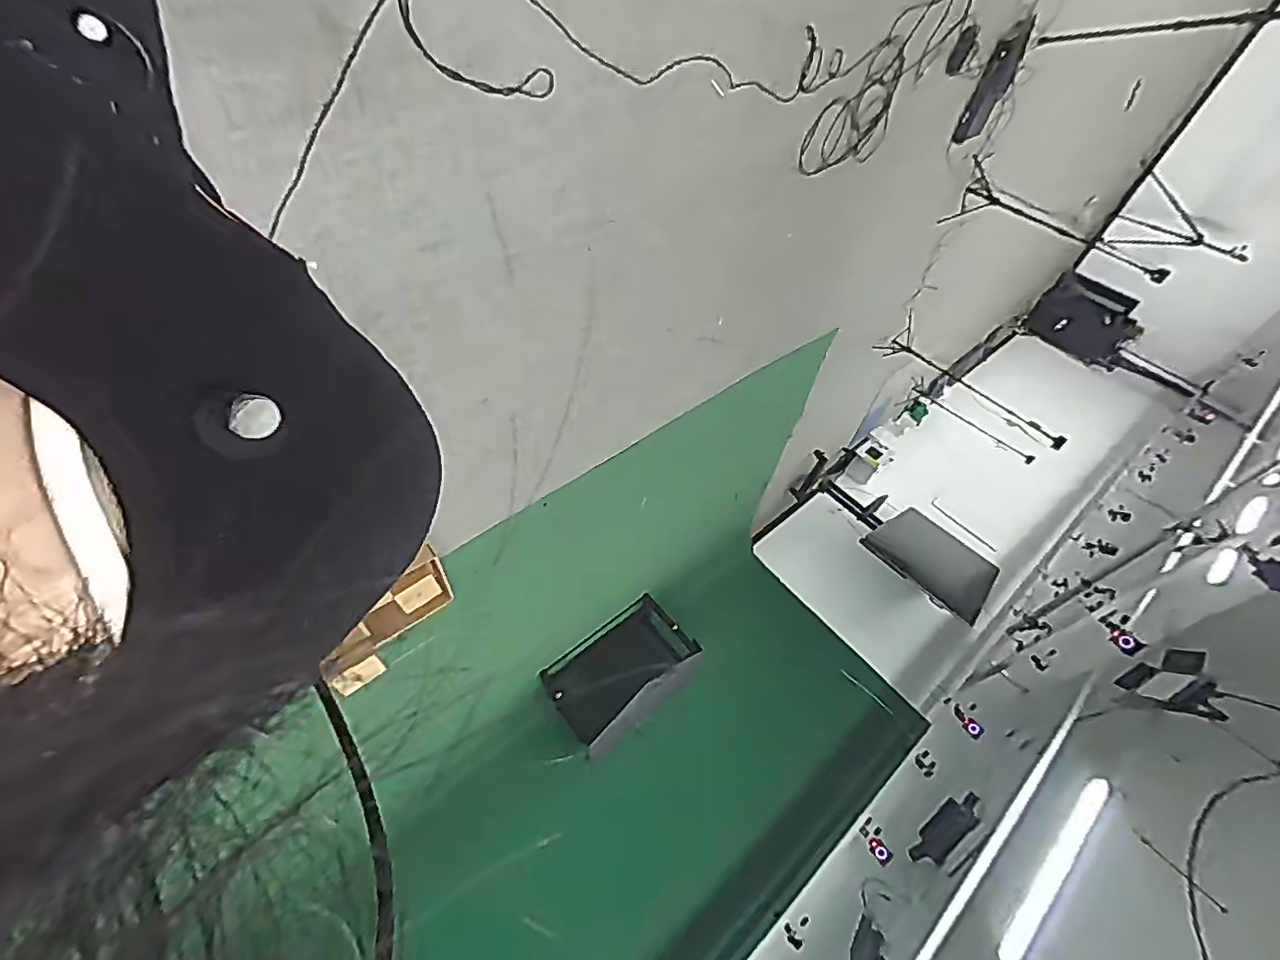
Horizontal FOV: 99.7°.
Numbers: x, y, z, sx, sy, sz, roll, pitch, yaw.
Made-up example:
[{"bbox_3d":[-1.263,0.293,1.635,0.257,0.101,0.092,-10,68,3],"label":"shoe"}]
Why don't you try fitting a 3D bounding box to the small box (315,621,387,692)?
[{"bbox_3d":[-1.104,0.670,2.072,0.168,0.176,0.179,-32,151,-27],"label":"small box"}]
